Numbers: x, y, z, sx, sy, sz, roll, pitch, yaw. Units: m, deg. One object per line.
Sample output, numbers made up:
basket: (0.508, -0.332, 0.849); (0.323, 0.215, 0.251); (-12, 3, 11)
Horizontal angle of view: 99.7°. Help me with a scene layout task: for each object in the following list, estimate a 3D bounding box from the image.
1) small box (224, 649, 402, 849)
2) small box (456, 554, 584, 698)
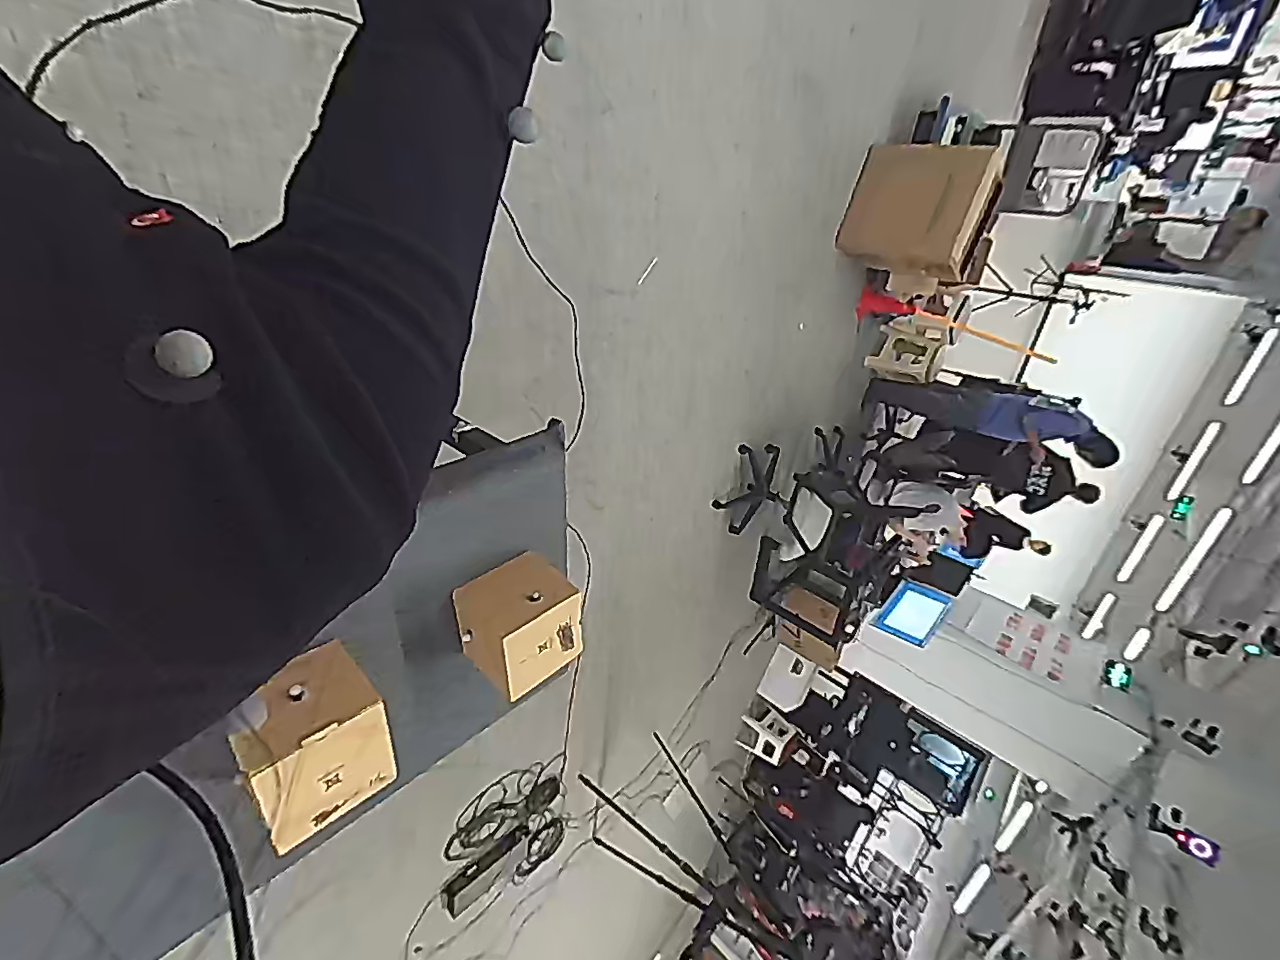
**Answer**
small box: (-0.480, 0.379, 0.801); (0.168, 0.176, 0.179); (-23, 128, -42)
small box: (-0.228, 0.272, 1.049); (0.179, 0.176, 0.168); (-27, 131, -39)
